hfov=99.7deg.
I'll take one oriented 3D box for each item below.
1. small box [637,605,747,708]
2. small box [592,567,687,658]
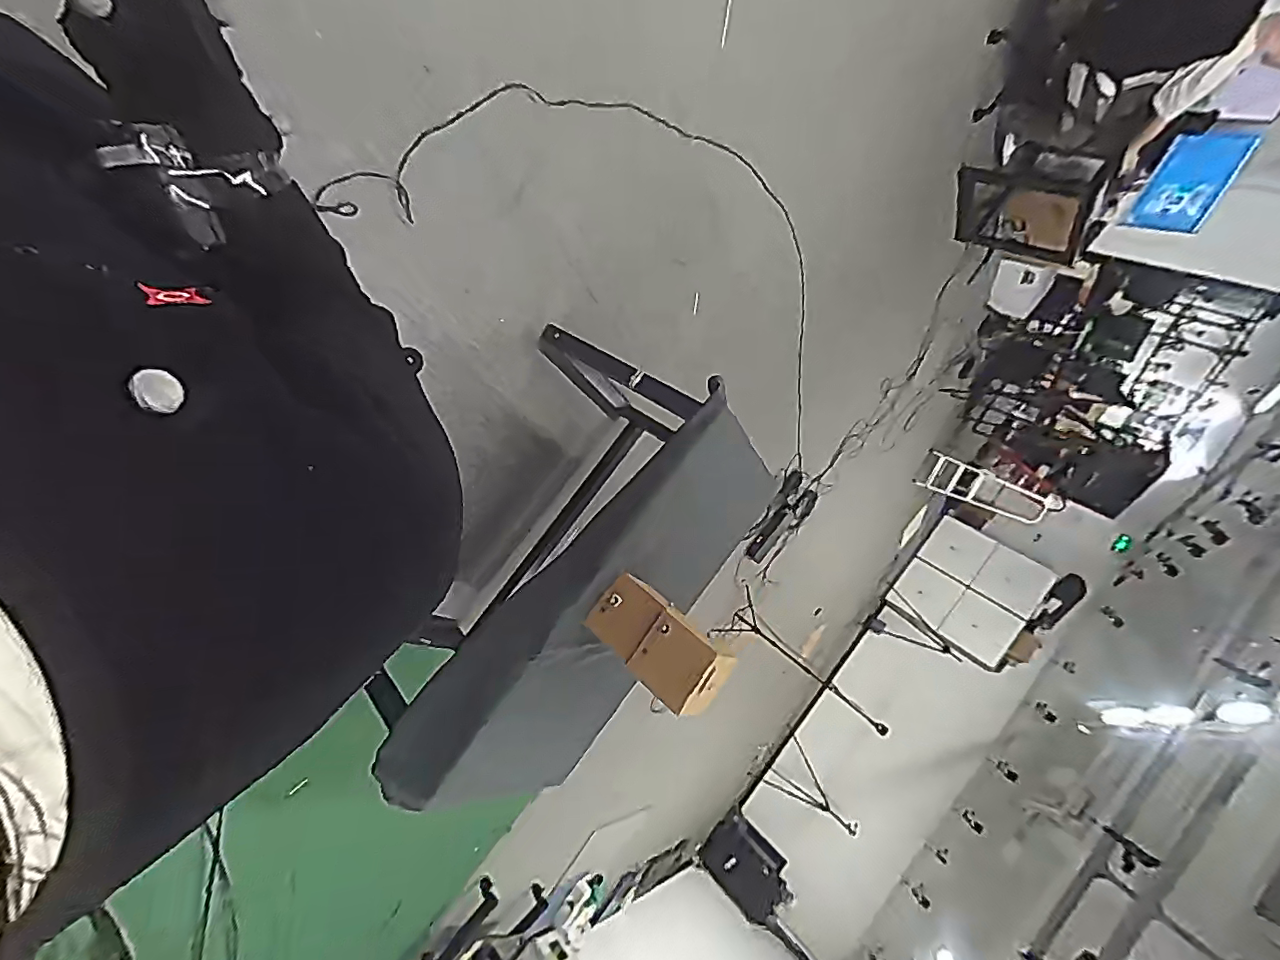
[{"bbox_3d":[0.123,0.418,1.290,0.168,0.176,0.179,-56,148,-1],"label":"small box"},{"bbox_3d":[0.013,0.347,1.389,0.168,0.176,0.179,-54,145,-4],"label":"small box"}]
